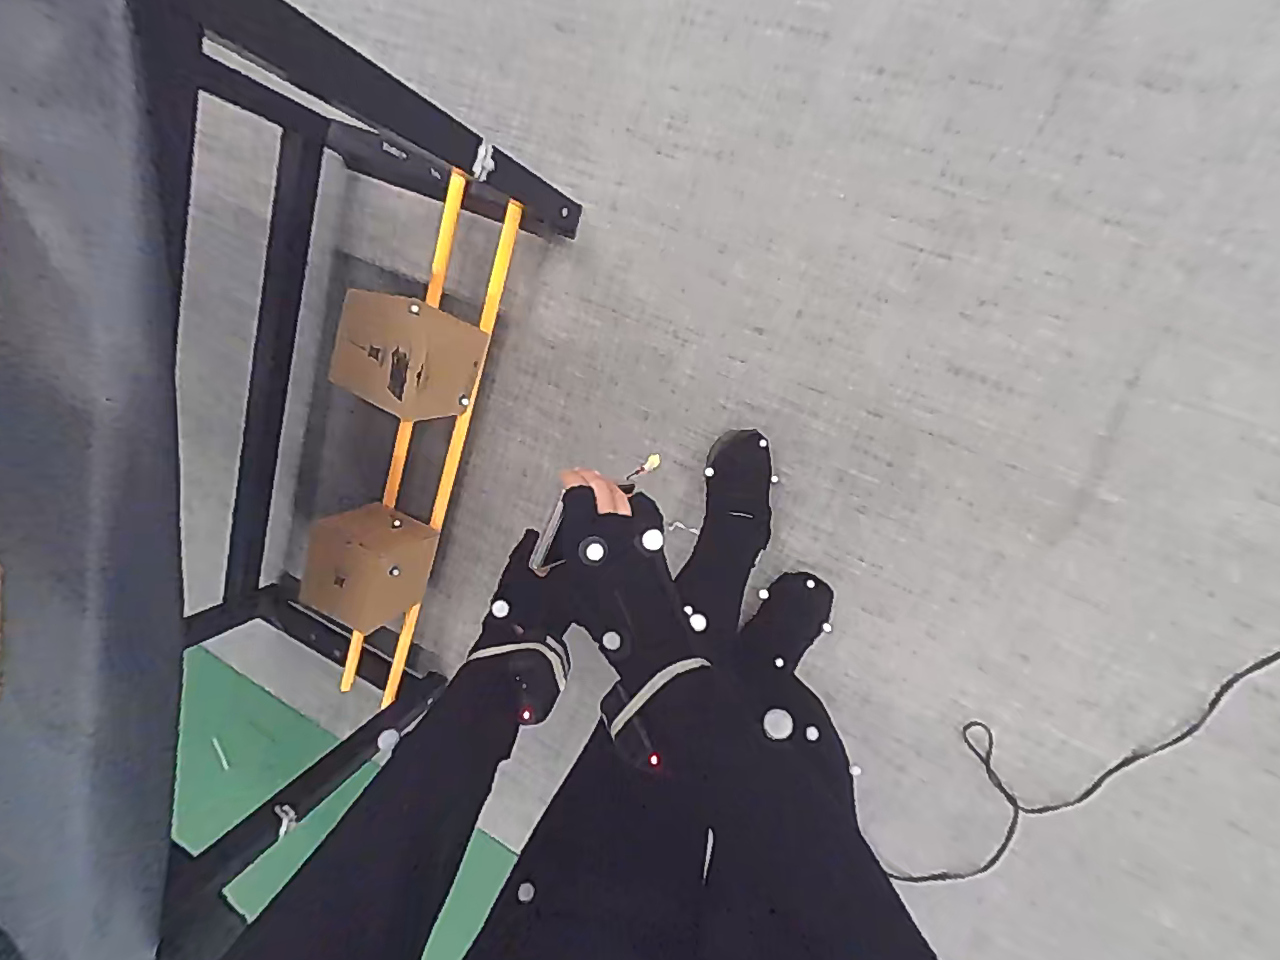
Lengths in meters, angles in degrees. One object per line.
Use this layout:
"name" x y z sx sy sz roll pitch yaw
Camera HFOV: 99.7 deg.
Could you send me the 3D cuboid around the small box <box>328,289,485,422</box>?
"small box" -0.407 -0.220 0.963 0.179 0.176 0.168 27 107 11
